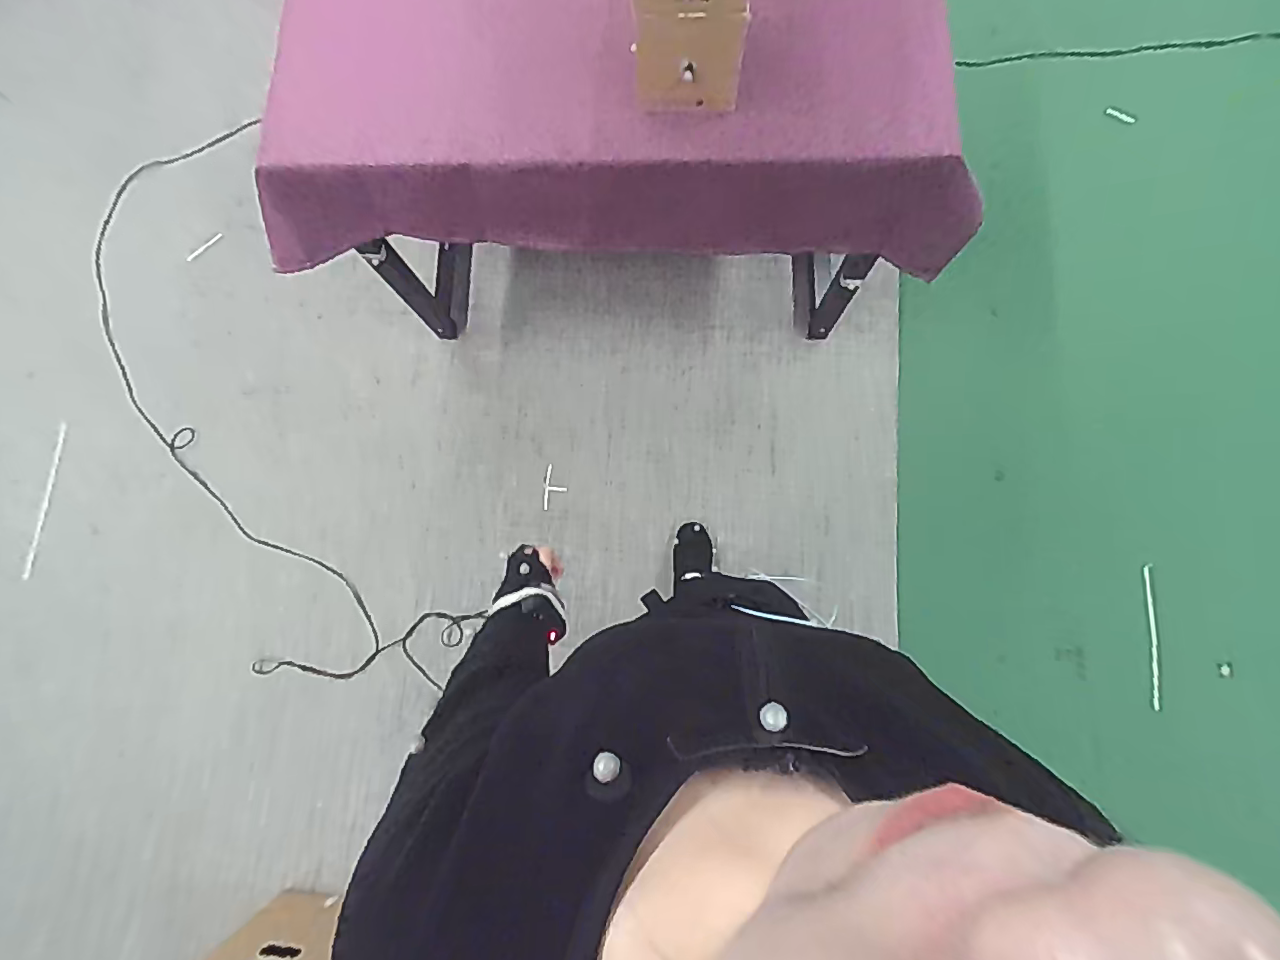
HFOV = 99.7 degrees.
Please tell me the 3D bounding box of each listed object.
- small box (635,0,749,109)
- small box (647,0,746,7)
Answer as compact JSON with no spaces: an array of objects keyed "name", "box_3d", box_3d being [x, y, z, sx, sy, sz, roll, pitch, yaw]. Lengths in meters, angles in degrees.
[{"name":"small box","box_3d":[0.083,-0.730,0.860,0.168,0.176,0.179,2,80,3]},{"name":"small box","box_3d":[0.072,-0.760,0.698,0.168,0.176,0.179,2,79,3]}]
